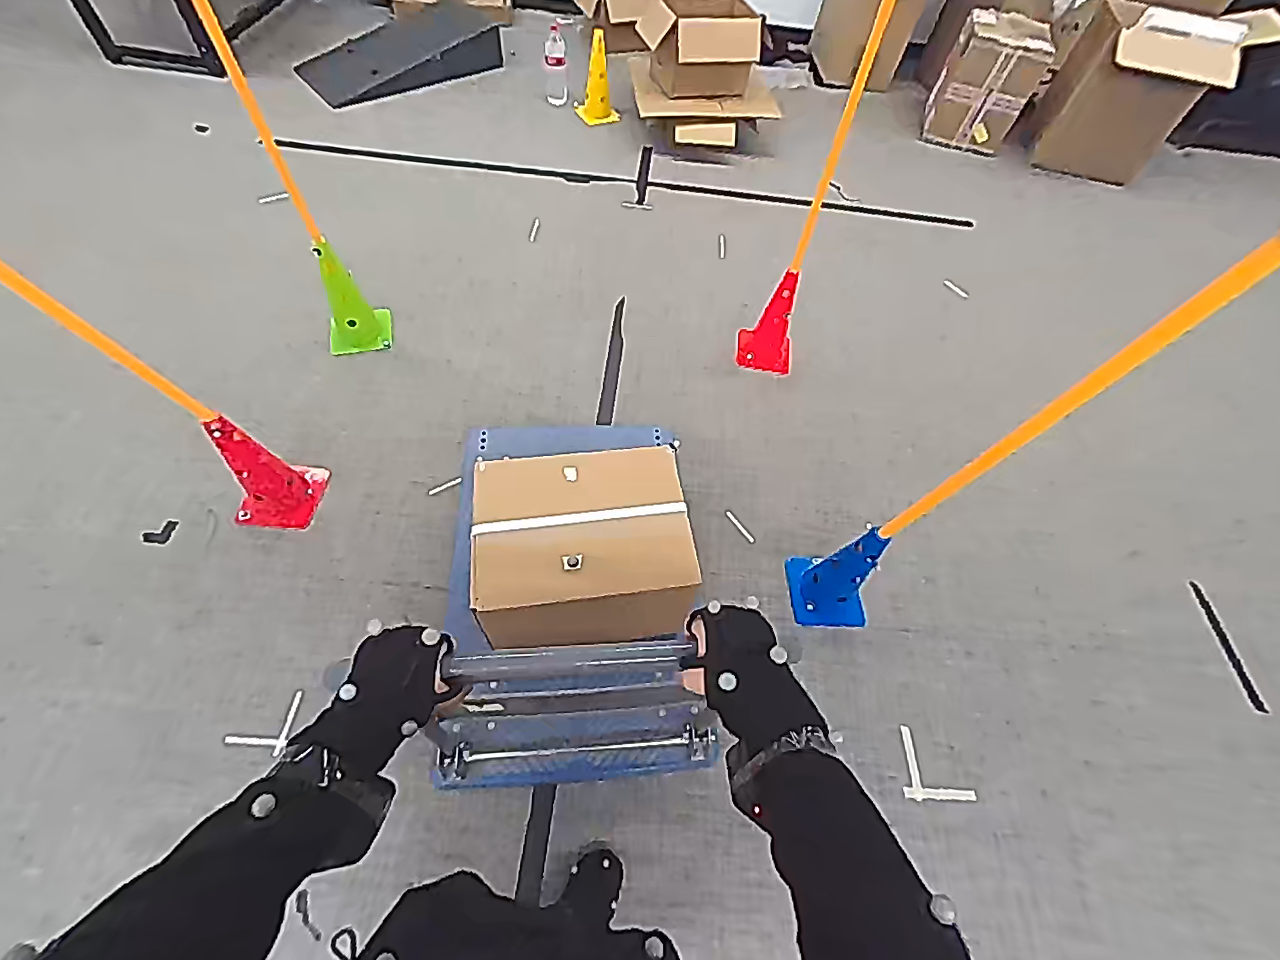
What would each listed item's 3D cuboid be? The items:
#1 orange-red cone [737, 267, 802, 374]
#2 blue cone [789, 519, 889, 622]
[{"bbox_3d":[0.478,-0.566,1.844,0.199,0.360,0.198,12,58,1],"label":"orange-red cone"},{"bbox_3d":[0.534,0.214,1.376,0.193,0.380,0.192,3,57,-4],"label":"blue cone"}]
